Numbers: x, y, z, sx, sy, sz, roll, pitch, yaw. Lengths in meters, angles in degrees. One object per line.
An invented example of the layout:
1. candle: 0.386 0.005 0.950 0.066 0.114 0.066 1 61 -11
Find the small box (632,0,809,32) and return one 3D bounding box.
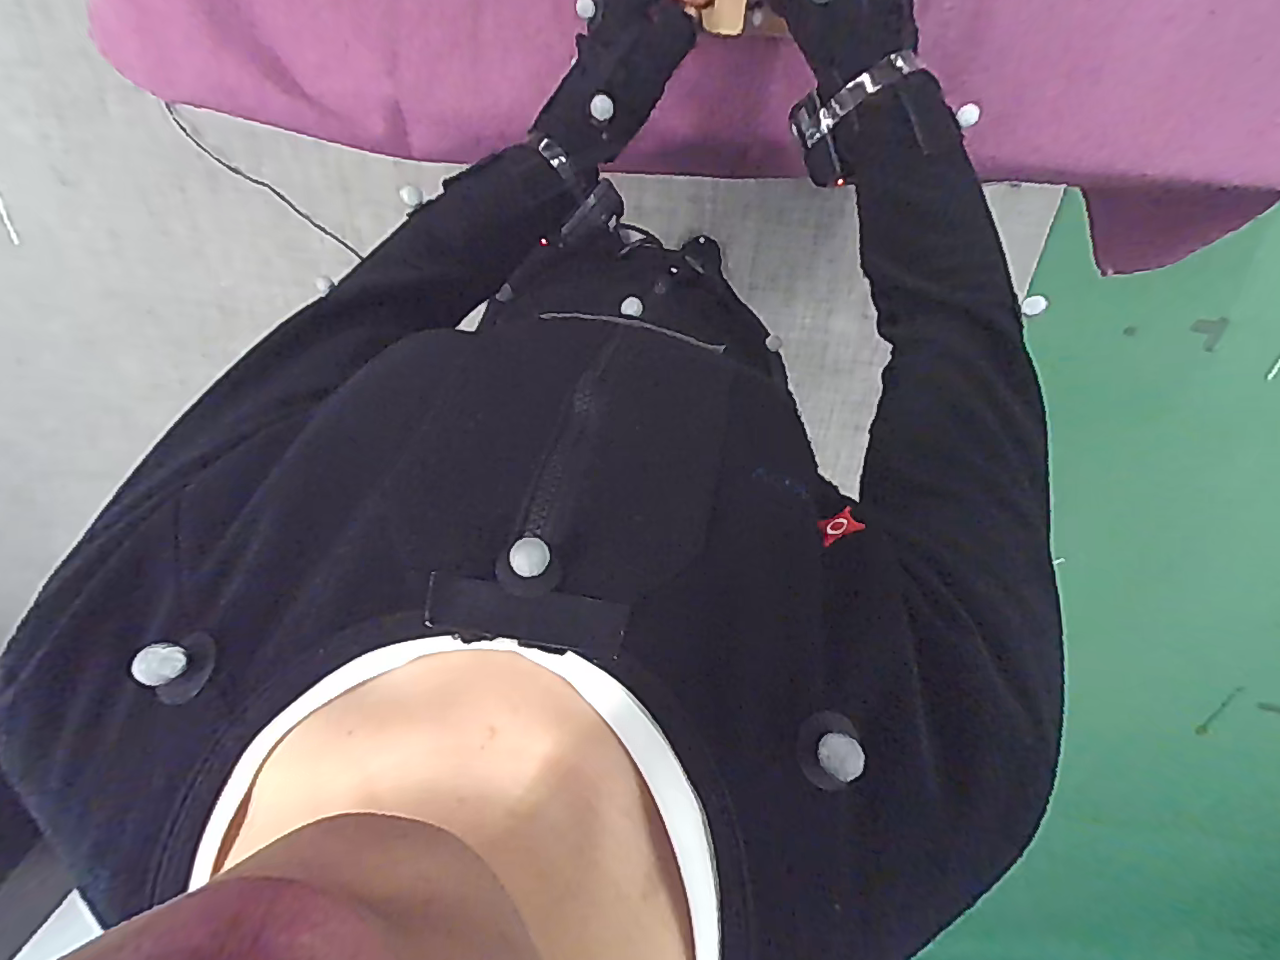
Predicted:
1. small box: 0.073 -0.480 0.416 0.168 0.176 0.179 6 116 0
